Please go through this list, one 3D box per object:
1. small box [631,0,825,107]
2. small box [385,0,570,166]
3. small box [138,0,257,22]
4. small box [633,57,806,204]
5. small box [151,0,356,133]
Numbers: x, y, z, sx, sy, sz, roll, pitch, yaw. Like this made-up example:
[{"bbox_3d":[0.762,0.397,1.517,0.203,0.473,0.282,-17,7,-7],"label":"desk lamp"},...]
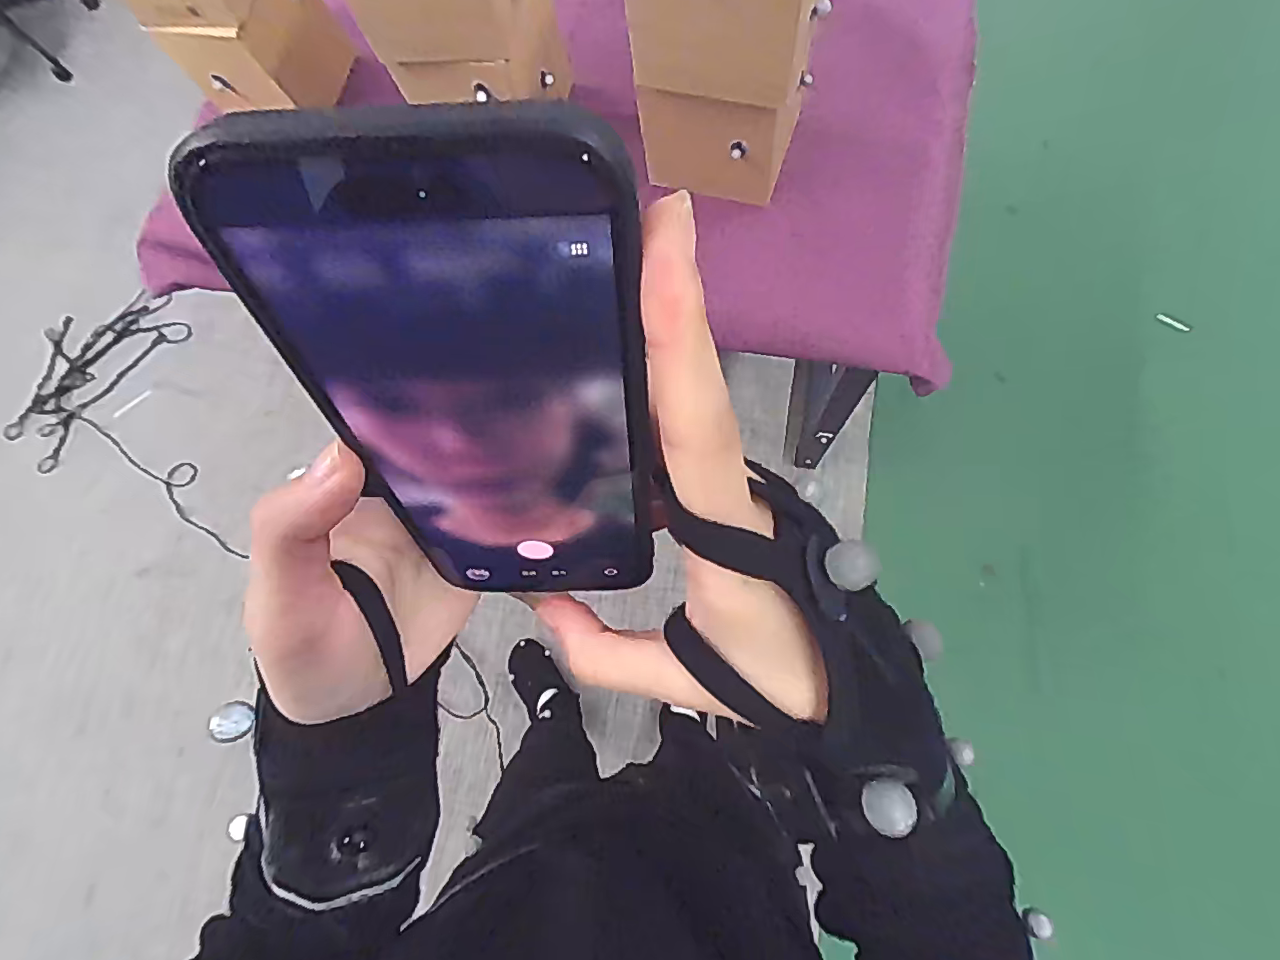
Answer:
[{"bbox_3d":[0.093,-0.517,0.540,0.179,0.176,0.168,18,79,11],"label":"small box"},{"bbox_3d":[-0.214,-0.579,0.766,0.179,0.176,0.168,12,78,11],"label":"small box"},{"bbox_3d":[-0.603,-0.728,0.686,0.168,0.176,0.179,8,78,9],"label":"small box"},{"bbox_3d":[0.110,-0.494,0.702,0.179,0.176,0.168,19,79,12],"label":"small box"},{"bbox_3d":[-0.583,-0.681,0.842,0.168,0.176,0.179,13,78,11],"label":"small box"}]
